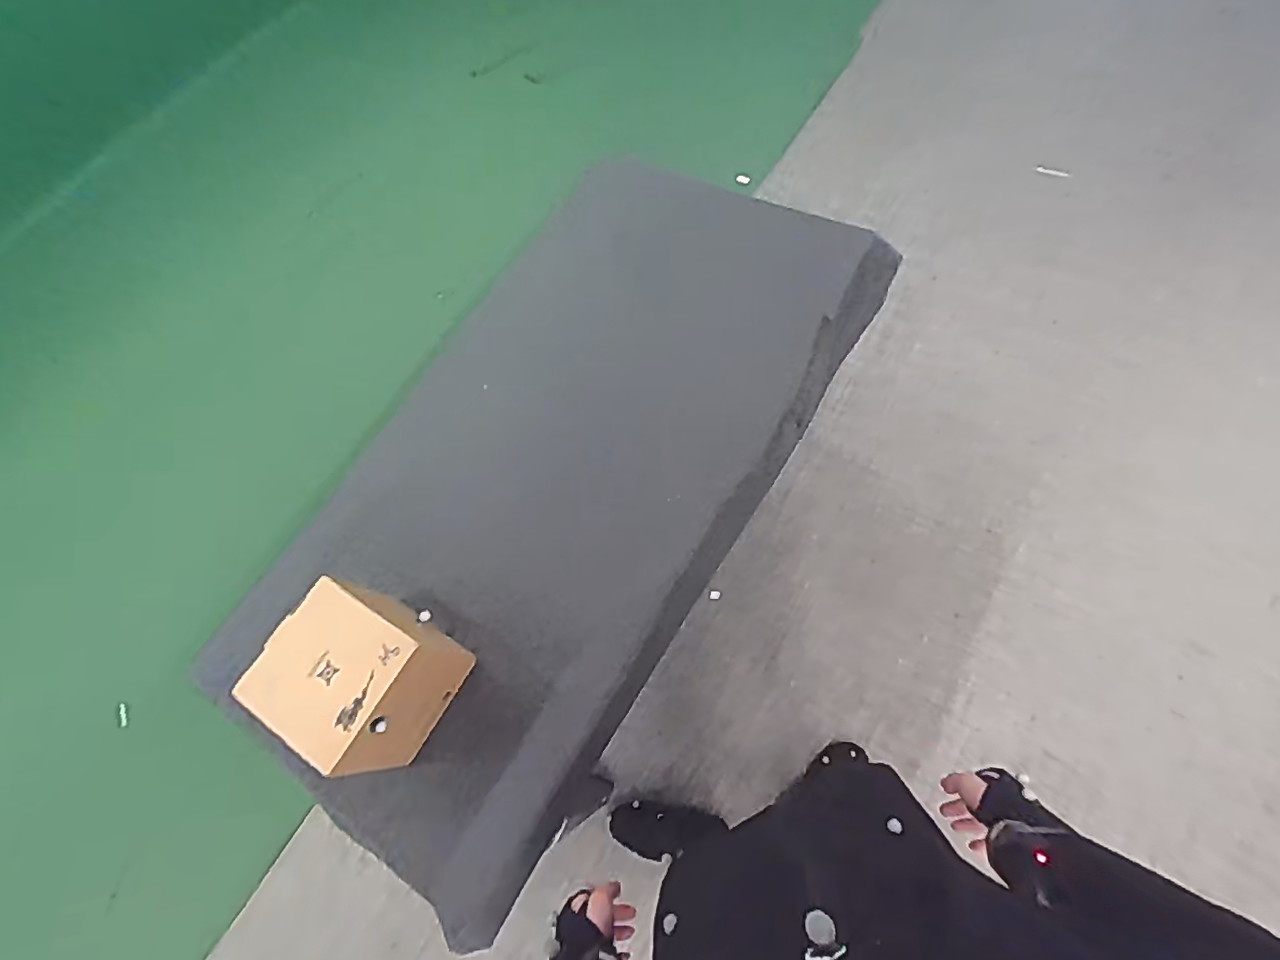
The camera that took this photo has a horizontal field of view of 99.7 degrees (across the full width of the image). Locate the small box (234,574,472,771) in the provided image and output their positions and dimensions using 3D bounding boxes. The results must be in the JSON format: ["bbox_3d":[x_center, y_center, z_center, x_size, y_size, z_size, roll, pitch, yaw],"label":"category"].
[{"bbox_3d":[-0.361,0.250,0.710,0.179,0.176,0.168,26,75,19],"label":"small box"}]
